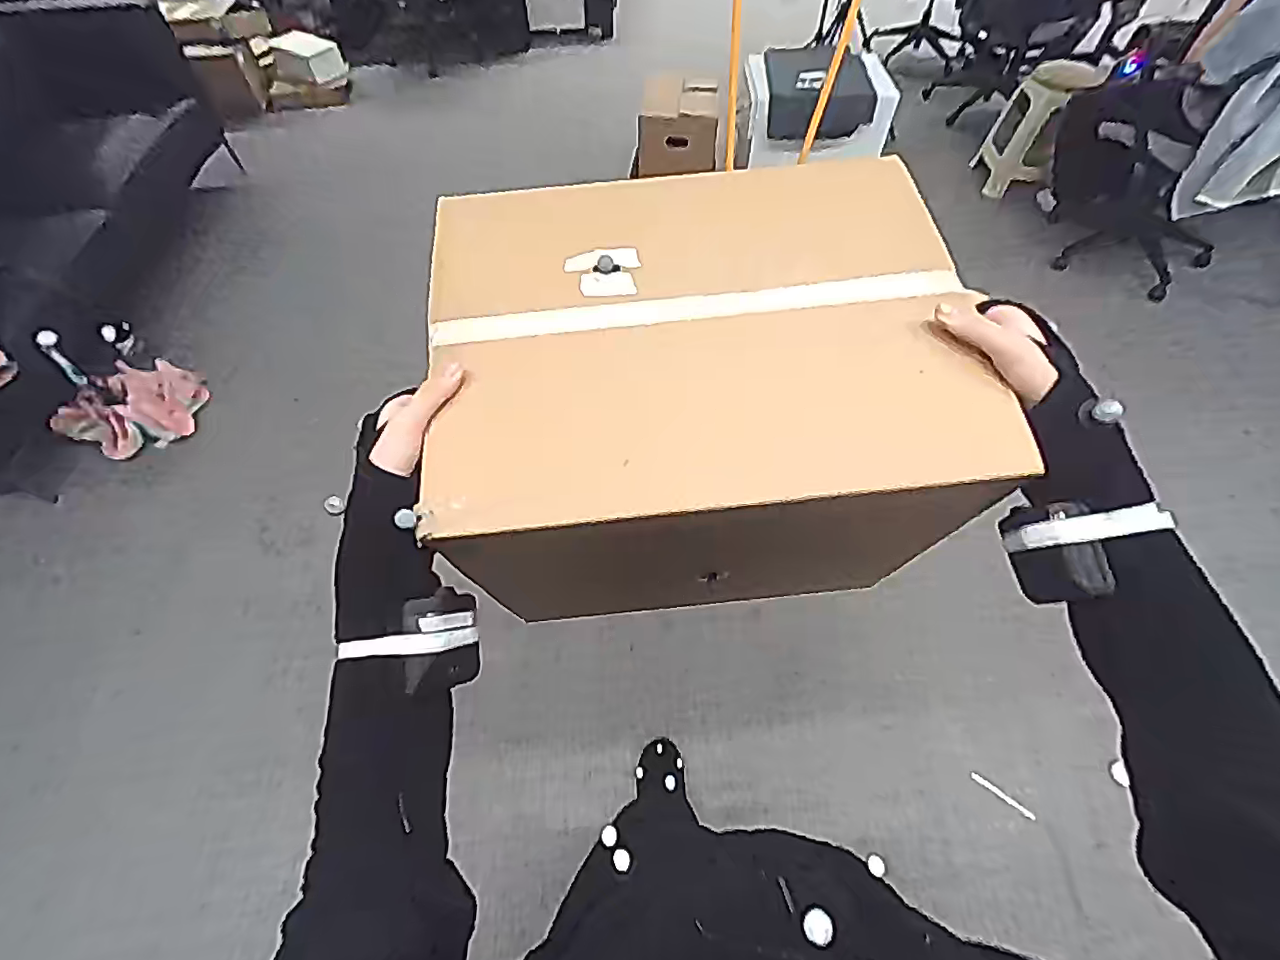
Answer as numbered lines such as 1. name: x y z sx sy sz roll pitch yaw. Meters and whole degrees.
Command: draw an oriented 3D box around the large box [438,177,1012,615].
1. large box: 0.052 -0.054 0.562 0.408 0.320 0.320 -6 66 0
